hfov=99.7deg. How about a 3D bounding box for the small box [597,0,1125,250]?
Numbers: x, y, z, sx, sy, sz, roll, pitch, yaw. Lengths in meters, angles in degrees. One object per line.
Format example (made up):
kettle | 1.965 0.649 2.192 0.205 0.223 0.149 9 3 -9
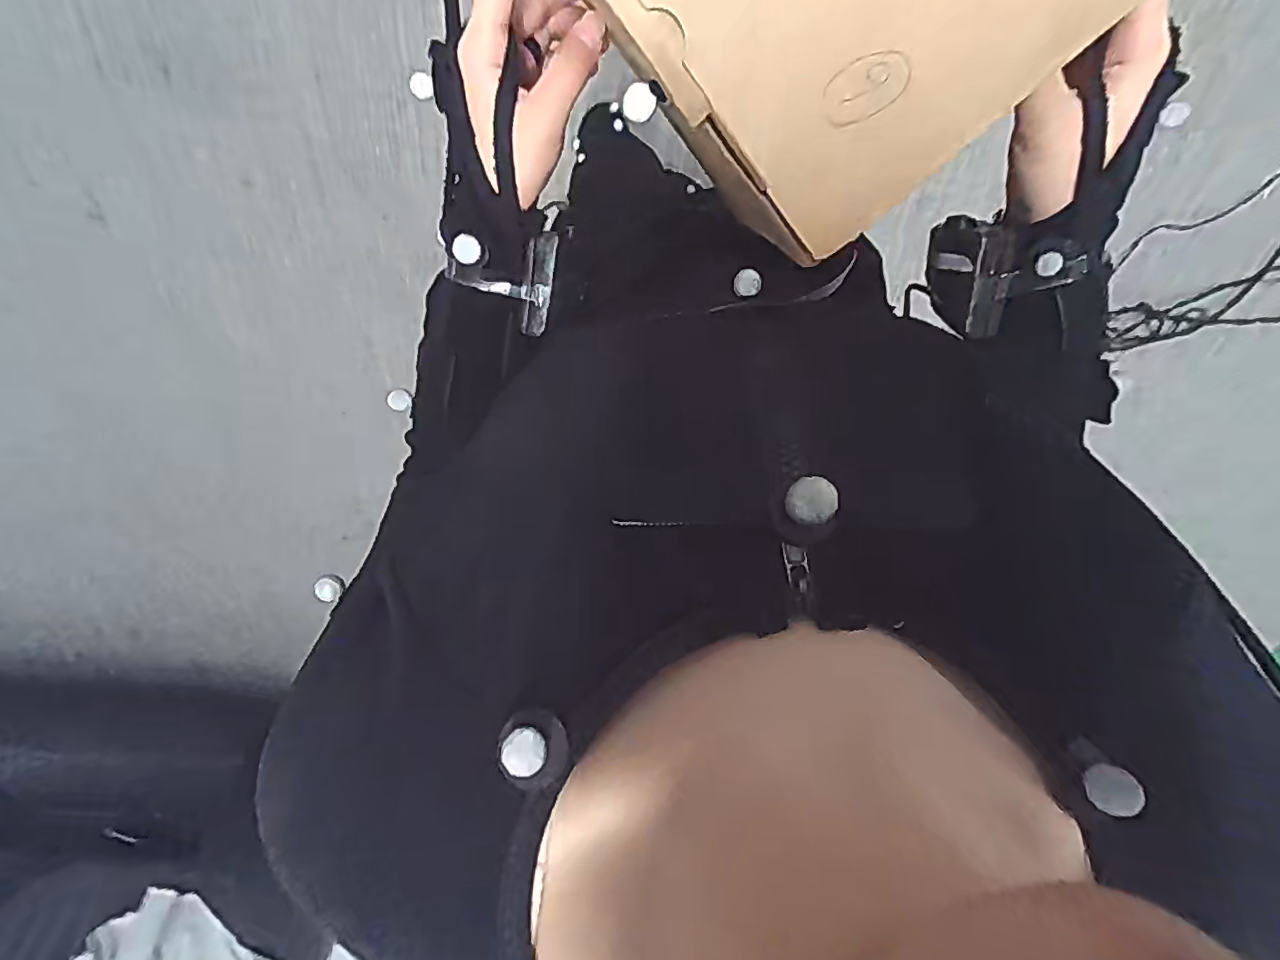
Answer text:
small box | 0.071 -0.218 0.197 0.179 0.176 0.168 -35 113 21
